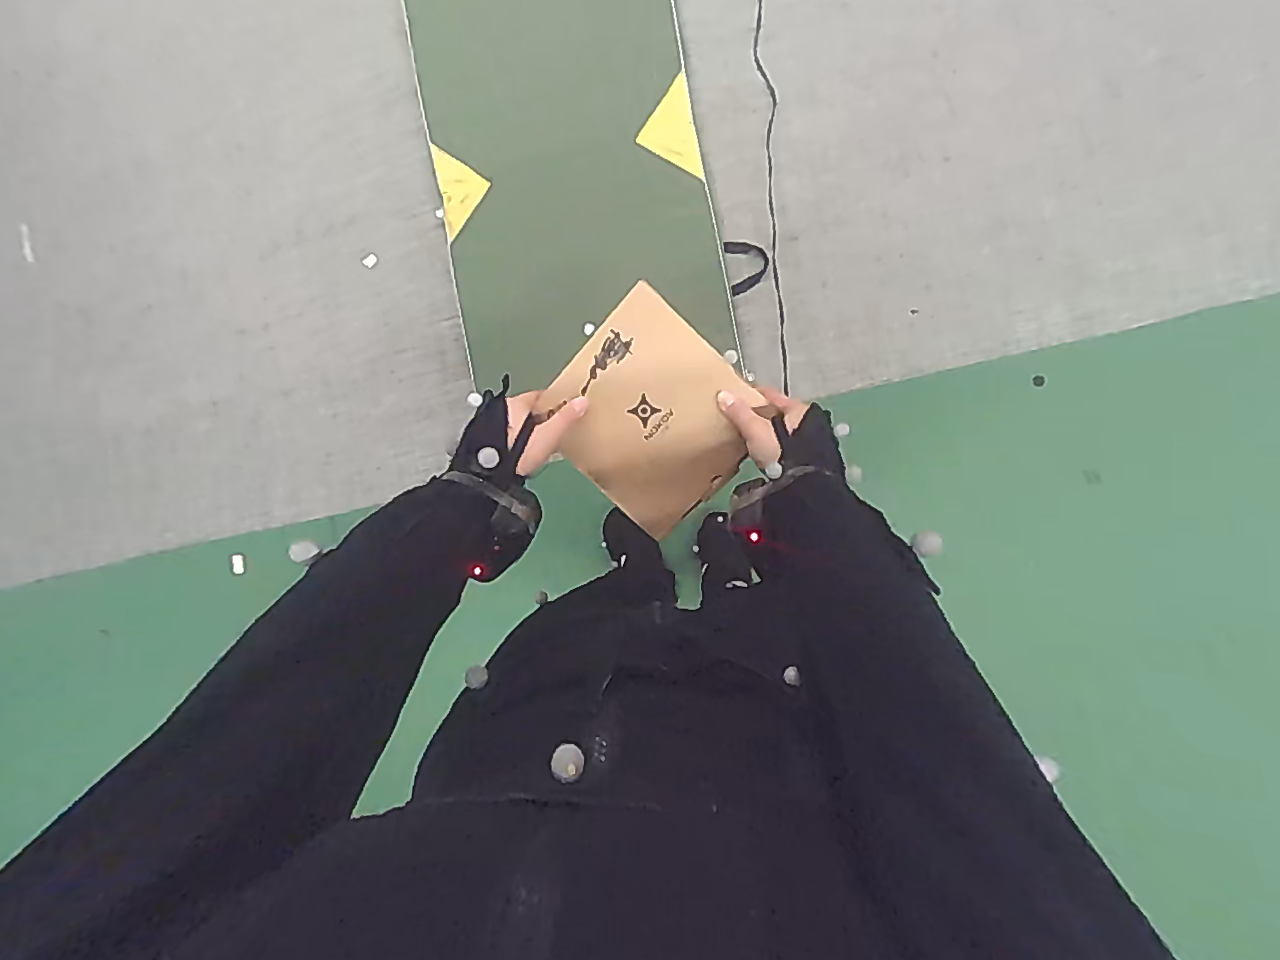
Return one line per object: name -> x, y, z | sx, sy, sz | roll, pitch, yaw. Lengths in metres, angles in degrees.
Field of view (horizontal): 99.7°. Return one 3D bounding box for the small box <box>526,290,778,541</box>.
small box -> 0.018, -0.072, 0.569 | 0.179, 0.176, 0.168 | 43, 104, -4
